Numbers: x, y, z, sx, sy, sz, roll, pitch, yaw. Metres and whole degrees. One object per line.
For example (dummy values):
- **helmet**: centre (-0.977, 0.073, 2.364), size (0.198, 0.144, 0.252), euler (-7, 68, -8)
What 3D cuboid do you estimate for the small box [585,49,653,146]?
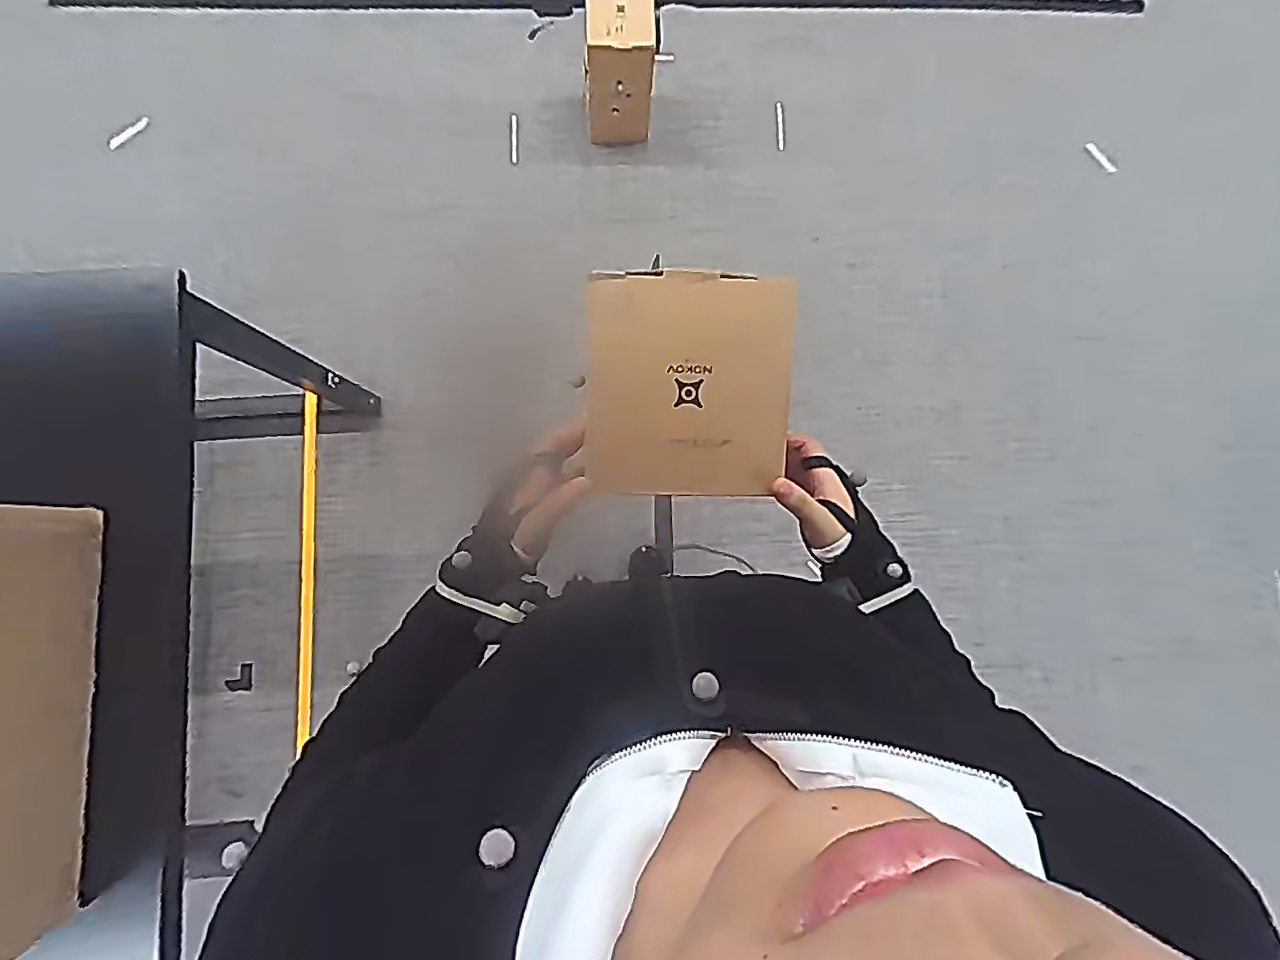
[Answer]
- **small box**: centre (-0.060, -1.081, 1.533), size (0.179, 0.176, 0.168), euler (-5, 85, -4)

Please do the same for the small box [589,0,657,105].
- **small box**: centre (-0.046, -1.097, 1.370), size (0.168, 0.176, 0.179), euler (-1, 85, -3)

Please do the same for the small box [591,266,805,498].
- **small box**: centre (0.039, -0.084, 0.501), size (0.168, 0.176, 0.179), euler (1, 99, -4)
